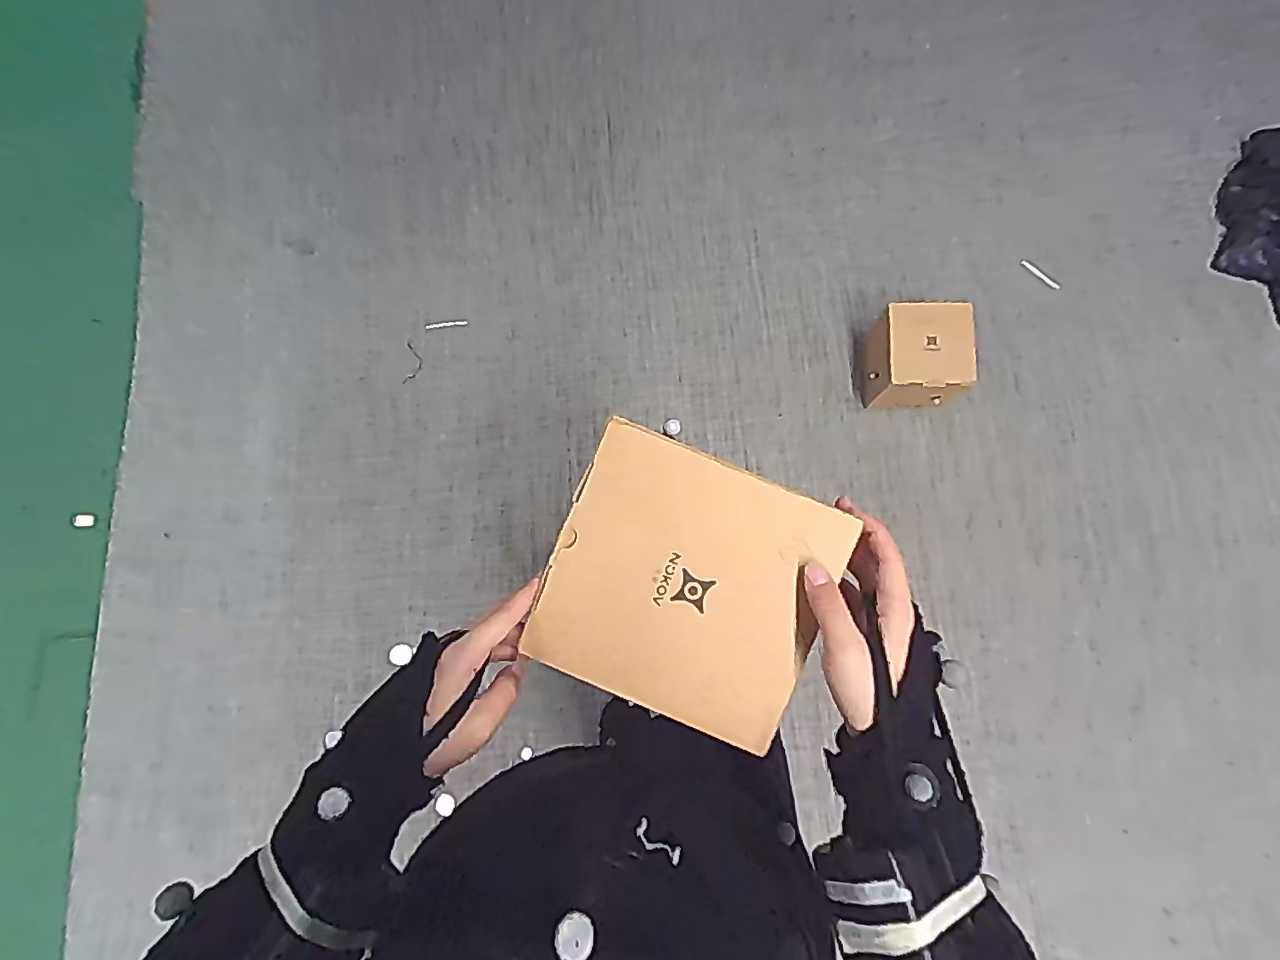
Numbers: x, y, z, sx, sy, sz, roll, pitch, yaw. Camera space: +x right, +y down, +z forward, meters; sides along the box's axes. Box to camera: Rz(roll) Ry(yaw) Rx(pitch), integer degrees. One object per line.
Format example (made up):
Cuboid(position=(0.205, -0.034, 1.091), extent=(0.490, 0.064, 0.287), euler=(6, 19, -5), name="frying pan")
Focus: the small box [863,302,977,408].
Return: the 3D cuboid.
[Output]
Cuboid(position=(0.584, -0.258, 1.149), extent=(0.168, 0.176, 0.179), euler=(1, 79, 4), name="small box")
